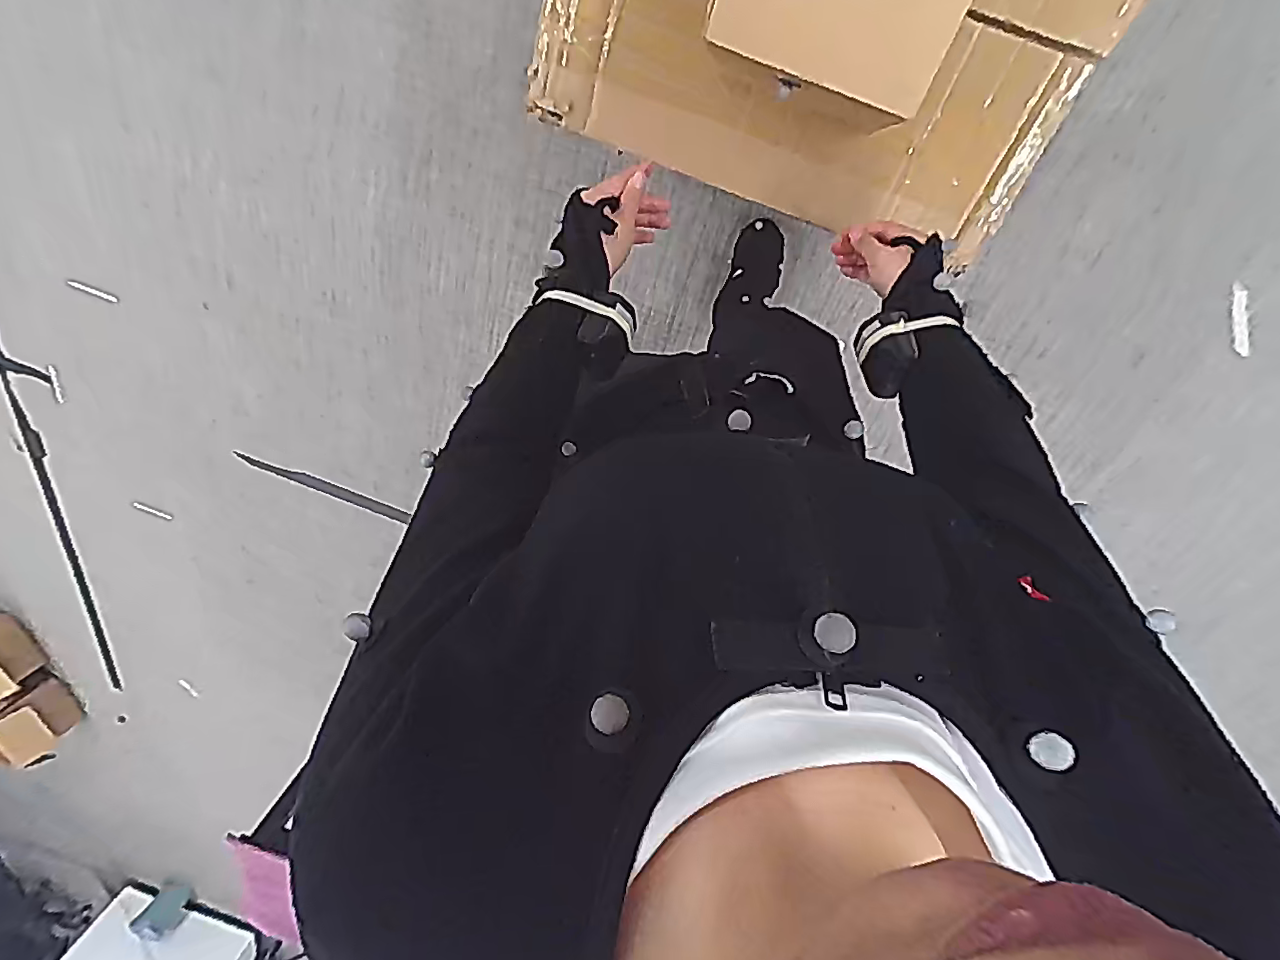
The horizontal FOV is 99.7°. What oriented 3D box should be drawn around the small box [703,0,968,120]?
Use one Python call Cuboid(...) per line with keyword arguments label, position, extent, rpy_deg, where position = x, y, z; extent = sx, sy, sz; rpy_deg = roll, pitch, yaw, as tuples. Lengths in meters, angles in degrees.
Cuboid(label="small box", position=(0.167, -0.414, 0.436), extent=(0.179, 0.176, 0.168), rpy_deg=(21, 122, 0))
